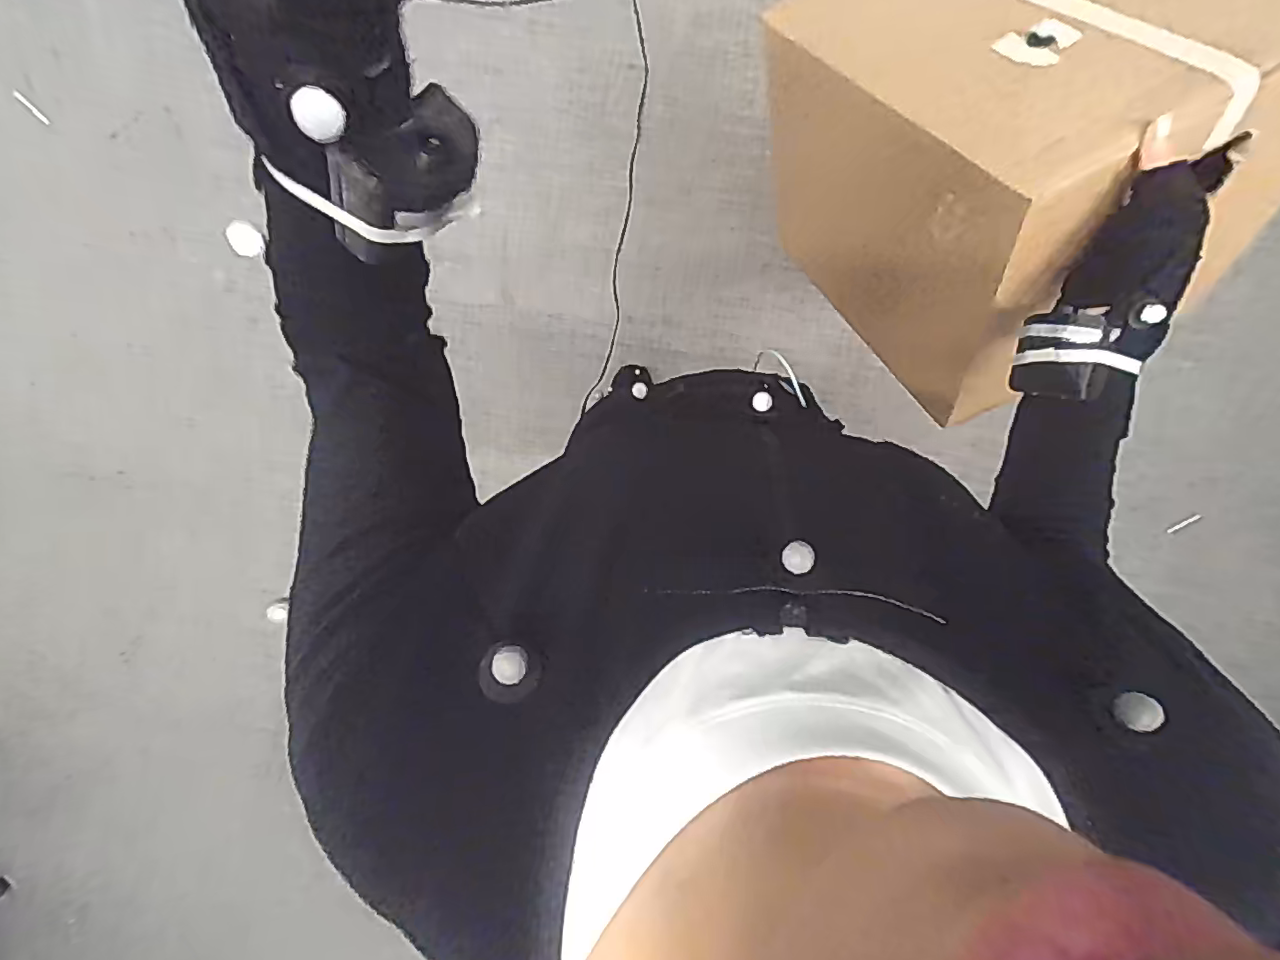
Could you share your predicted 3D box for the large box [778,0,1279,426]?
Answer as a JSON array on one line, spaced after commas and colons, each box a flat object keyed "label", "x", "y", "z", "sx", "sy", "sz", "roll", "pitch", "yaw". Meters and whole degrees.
[{"label": "large box", "x": 0.394, "y": -0.344, "z": 0.612, "sx": 0.320, "sy": 0.320, "sz": 0.408, "roll": -26, "pitch": 58, "yaw": 4}]
